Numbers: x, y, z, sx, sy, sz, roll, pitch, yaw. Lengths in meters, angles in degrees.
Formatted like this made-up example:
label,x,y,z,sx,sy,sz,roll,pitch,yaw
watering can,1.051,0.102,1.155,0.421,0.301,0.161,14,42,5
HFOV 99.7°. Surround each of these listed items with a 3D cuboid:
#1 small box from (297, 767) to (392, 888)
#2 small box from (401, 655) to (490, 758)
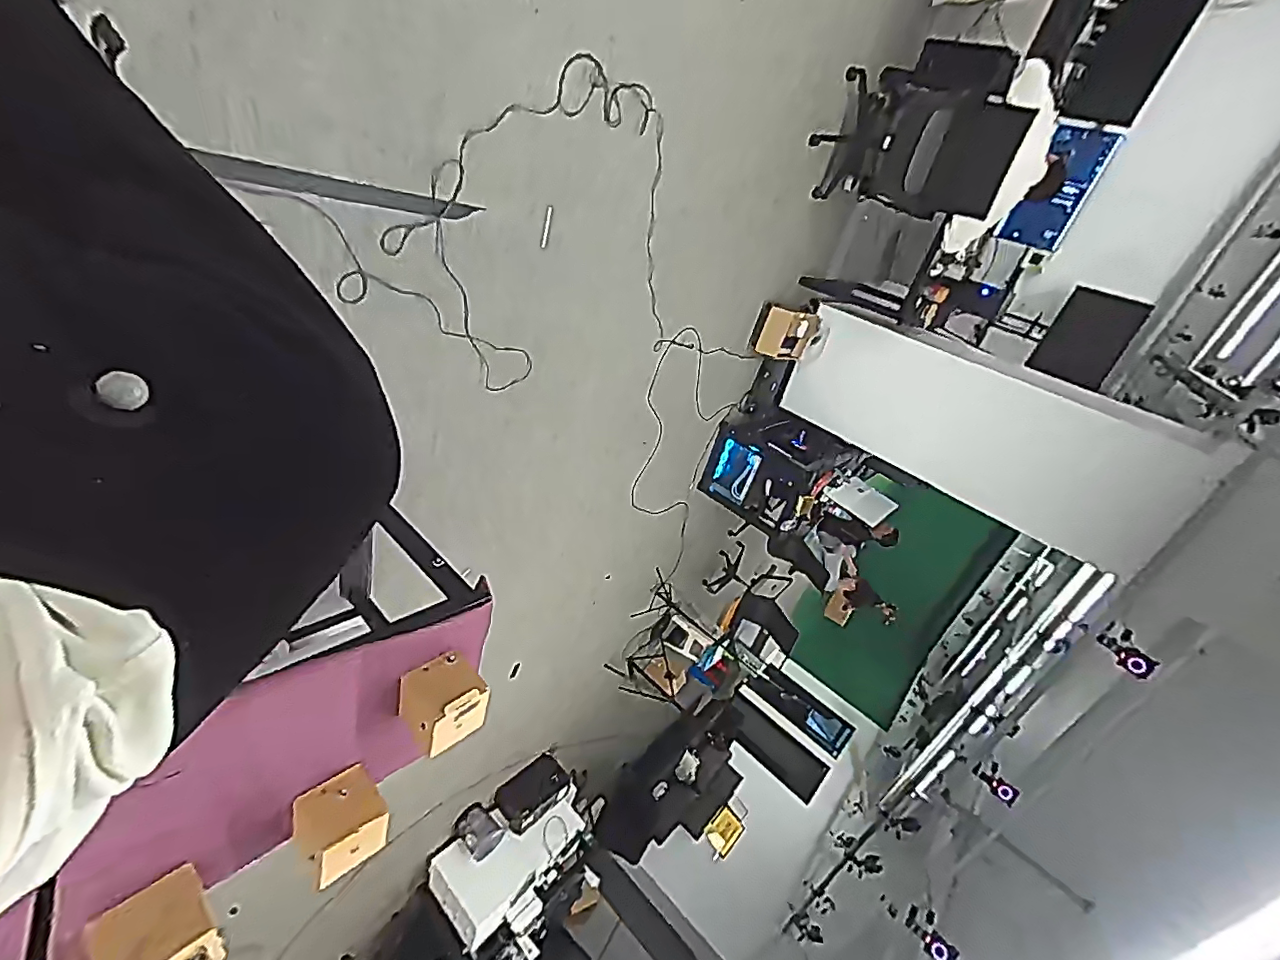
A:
label,x,y,z,sx,sy,sz,roll,pitch,yaw
small box,-0.782,0.905,1.425,0.168,0.176,0.179,-16,132,-49
small box,-0.538,0.610,1.488,0.168,0.176,0.179,-20,137,-46
